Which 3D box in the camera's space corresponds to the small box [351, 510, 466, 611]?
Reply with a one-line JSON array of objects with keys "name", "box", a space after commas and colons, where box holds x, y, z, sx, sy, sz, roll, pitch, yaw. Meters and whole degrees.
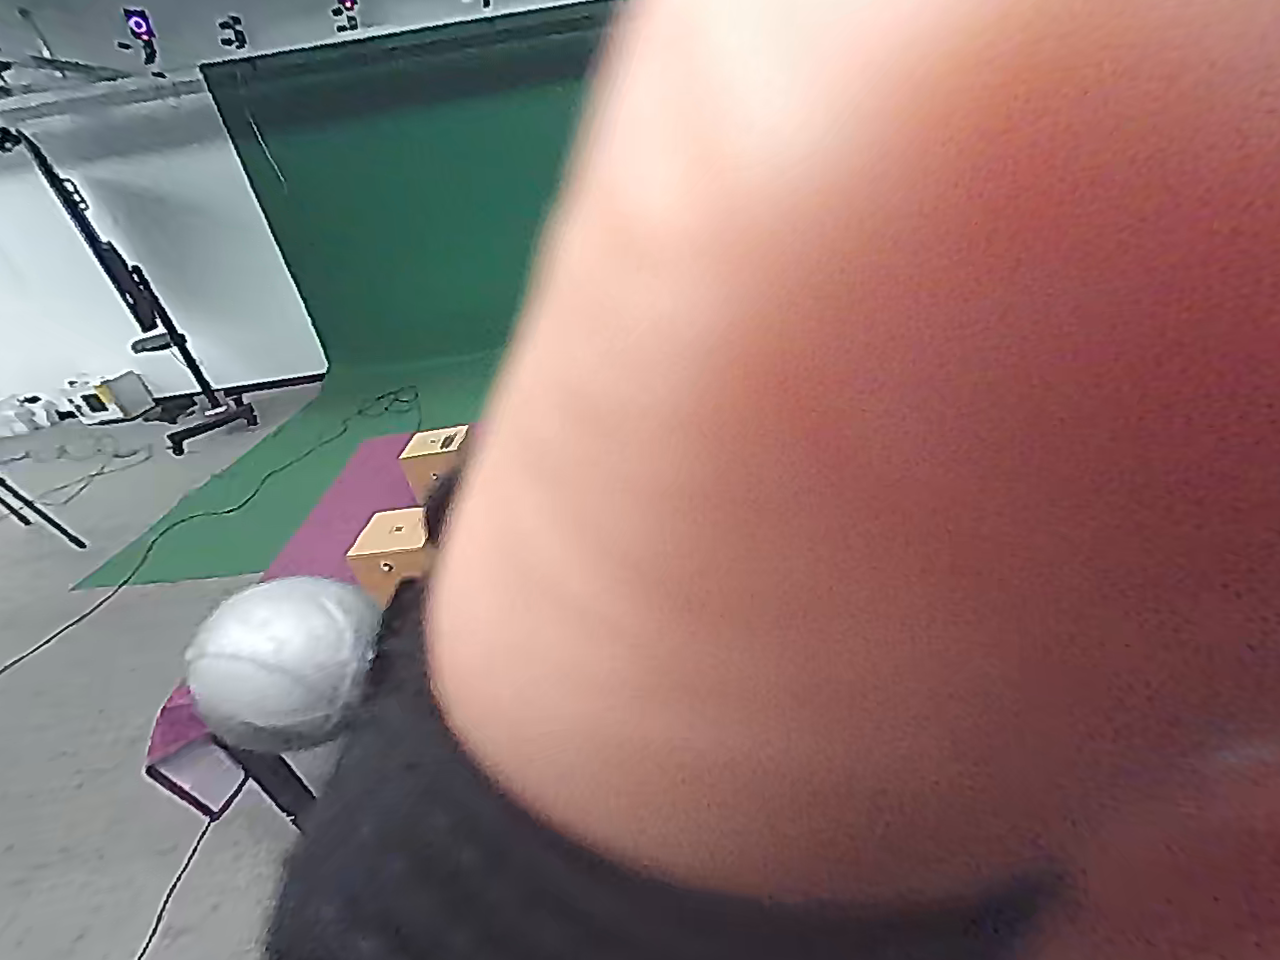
[{"name": "small box", "box": [-0.540, 0.194, 1.288, 0.179, 0.176, 0.168, -7, 32, 4]}]
